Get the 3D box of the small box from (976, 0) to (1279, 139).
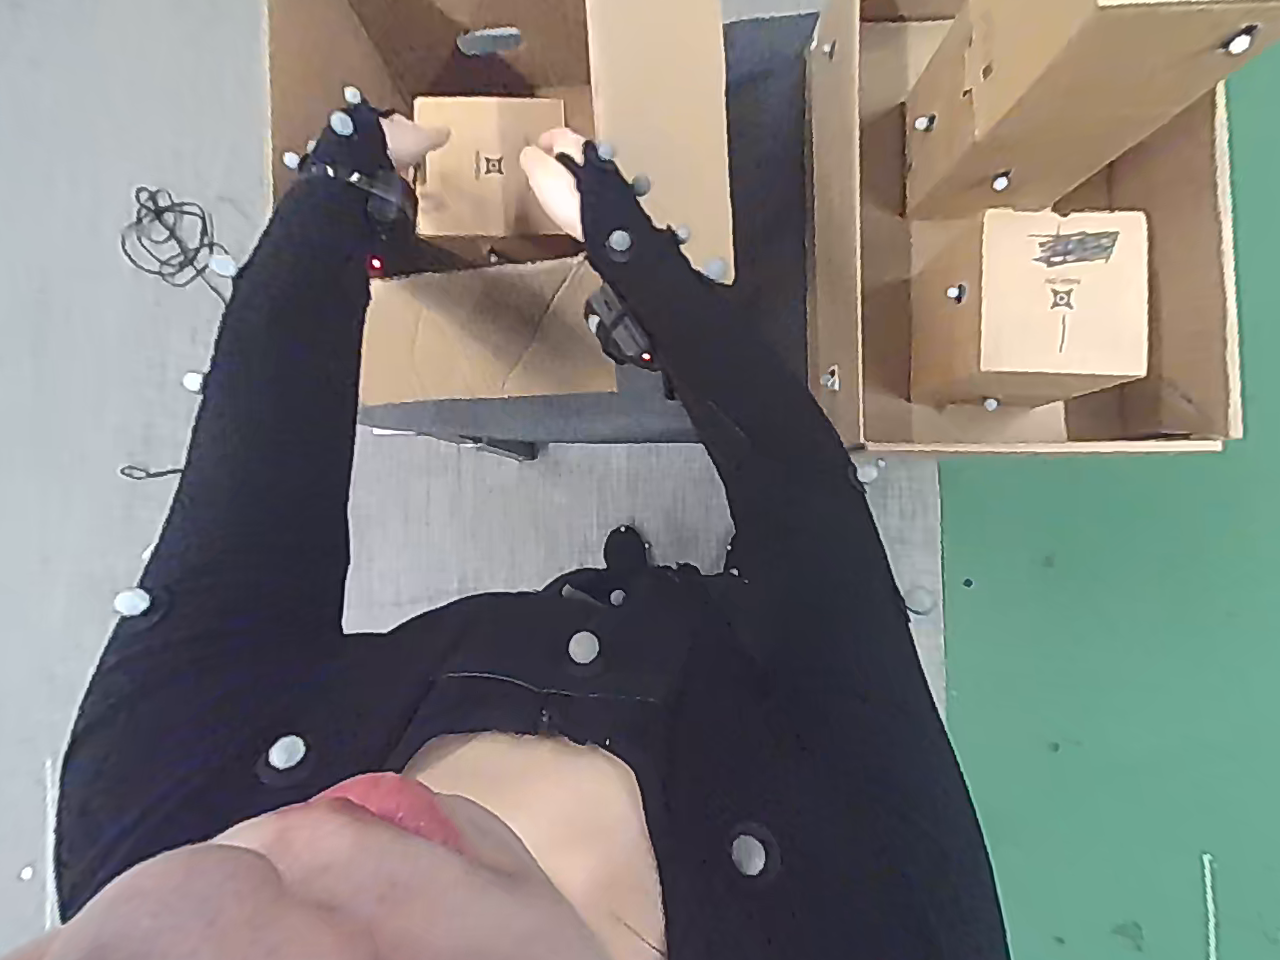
[{"bbox_3d":[0.431,-0.438,0.487,0.179,0.176,0.168,-1,90,2],"label":"small box"}]
